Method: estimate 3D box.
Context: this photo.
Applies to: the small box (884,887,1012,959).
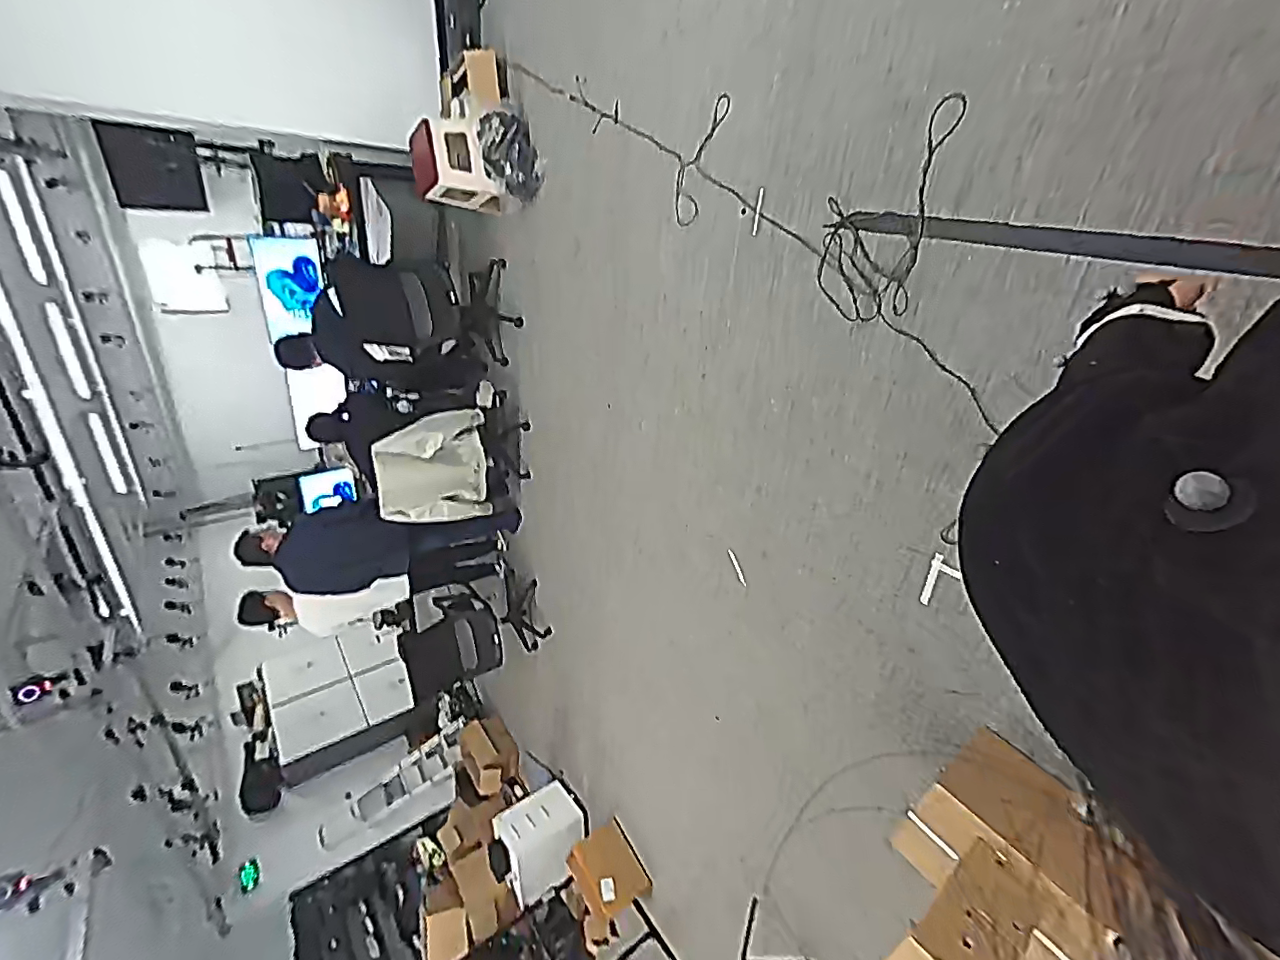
[{"bbox_3d":[0.662,1.034,1.162,0.168,0.176,0.179,38,130,40],"label":"small box"}]
